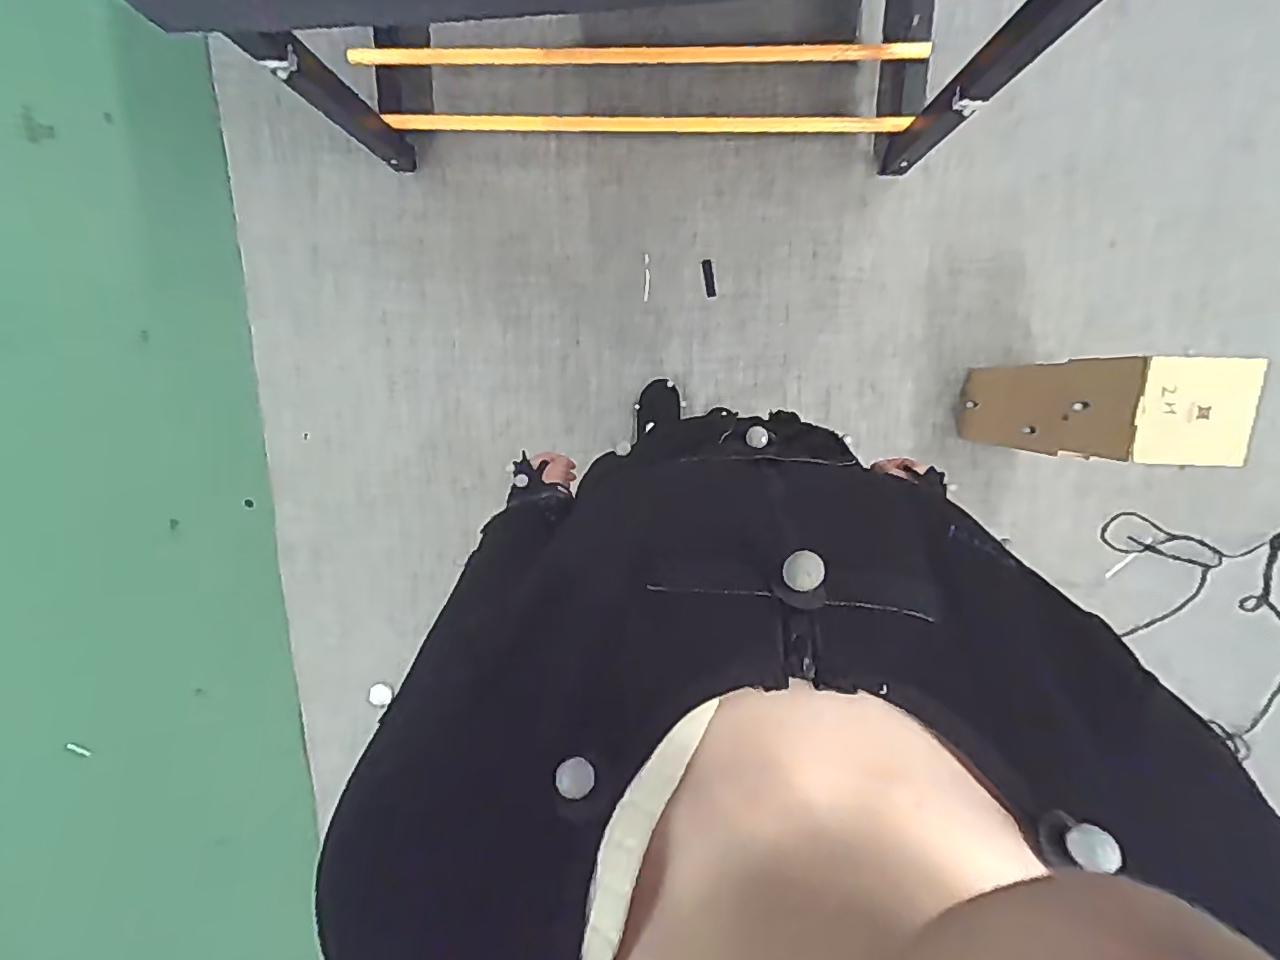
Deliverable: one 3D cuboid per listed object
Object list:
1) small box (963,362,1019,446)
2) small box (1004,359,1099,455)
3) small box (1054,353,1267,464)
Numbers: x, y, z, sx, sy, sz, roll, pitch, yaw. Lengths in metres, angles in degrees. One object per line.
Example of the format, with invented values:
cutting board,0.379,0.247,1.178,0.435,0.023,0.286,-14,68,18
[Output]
small box,0.864,-0.173,1.223,0.168,0.176,0.179,3,102,2
small box,0.853,-0.146,1.063,0.168,0.176,0.179,0,100,1
small box,0.847,-0.123,0.900,0.179,0.176,0.168,2,101,2
